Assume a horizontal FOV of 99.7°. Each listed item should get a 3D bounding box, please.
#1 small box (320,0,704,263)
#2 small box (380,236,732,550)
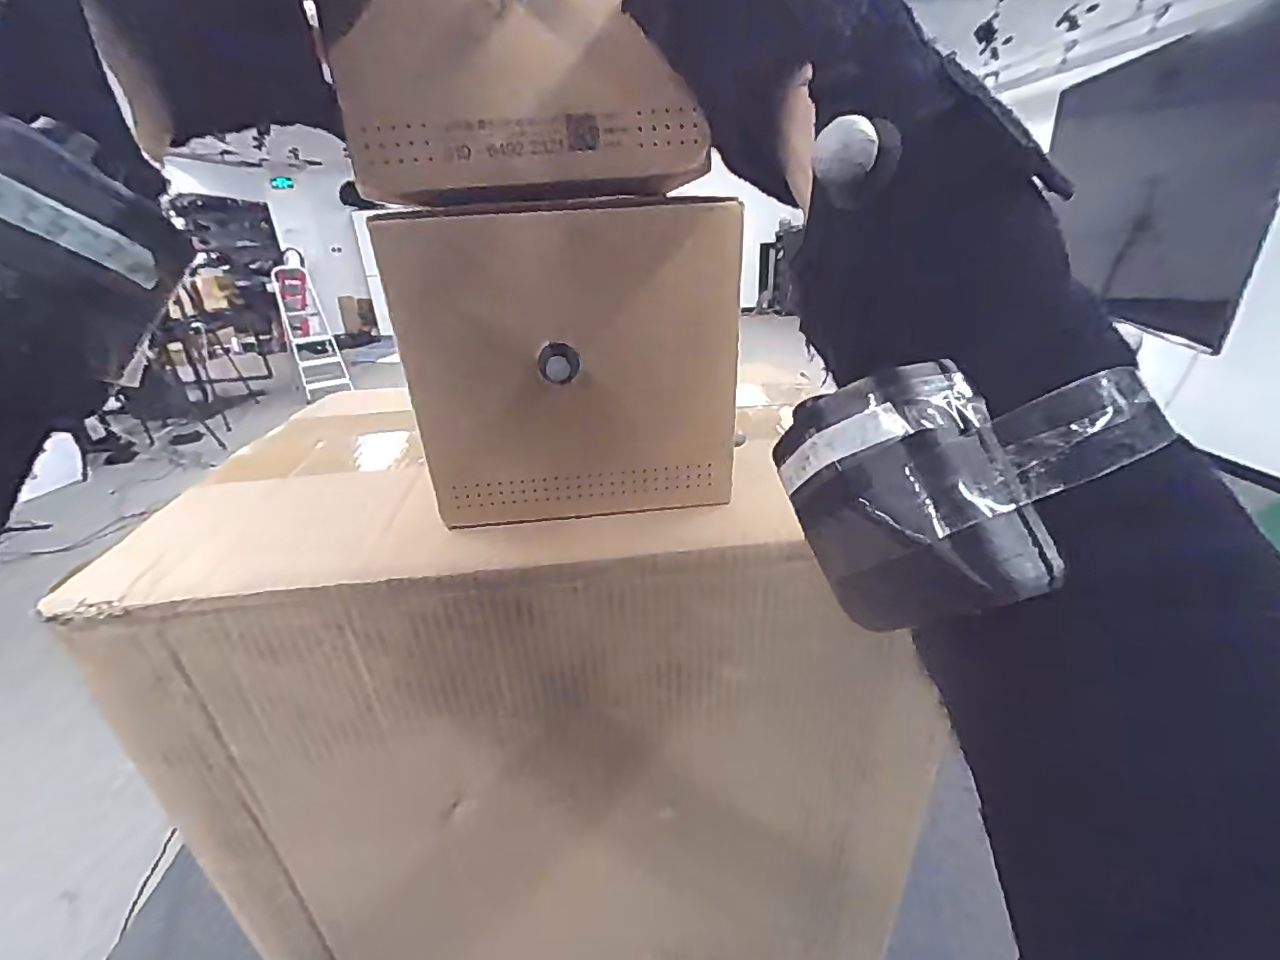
[{"bbox_3d":[-0.062,-0.221,0.312,0.168,0.176,0.179,-8,24,-6],"label":"small box"},{"bbox_3d":[-0.043,-0.068,0.371,0.179,0.176,0.168,-5,27,-3],"label":"small box"}]
